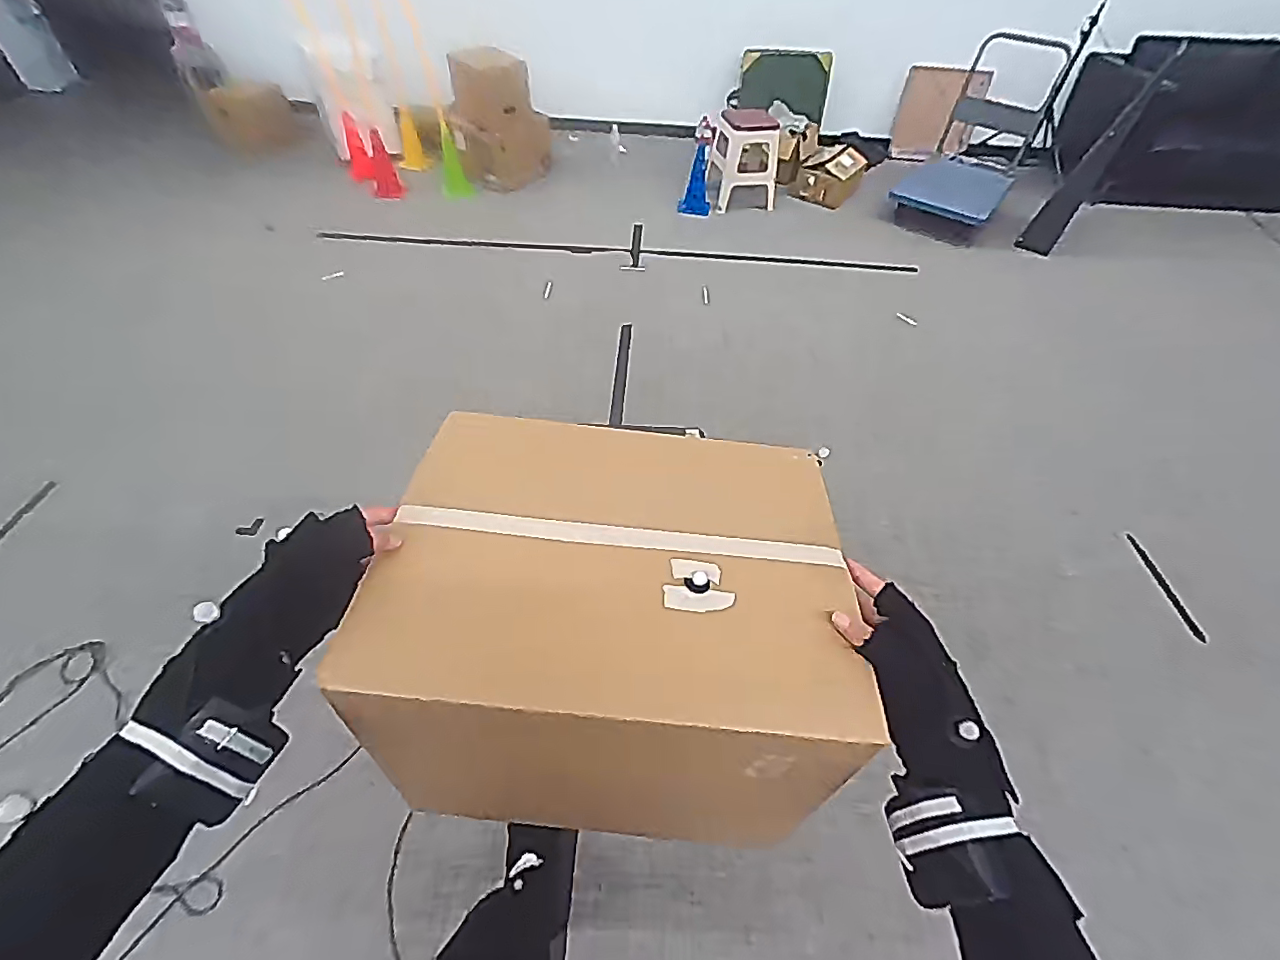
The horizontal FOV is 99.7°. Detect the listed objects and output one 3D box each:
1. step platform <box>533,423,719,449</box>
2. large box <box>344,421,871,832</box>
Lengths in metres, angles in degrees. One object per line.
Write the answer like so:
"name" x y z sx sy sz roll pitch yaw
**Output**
"step platform" -0.061 -0.027 1.848 0.684 0.204 0.286 3 49 -3
"large box" -0.029 0.165 0.606 0.408 0.320 0.320 7 45 -1
